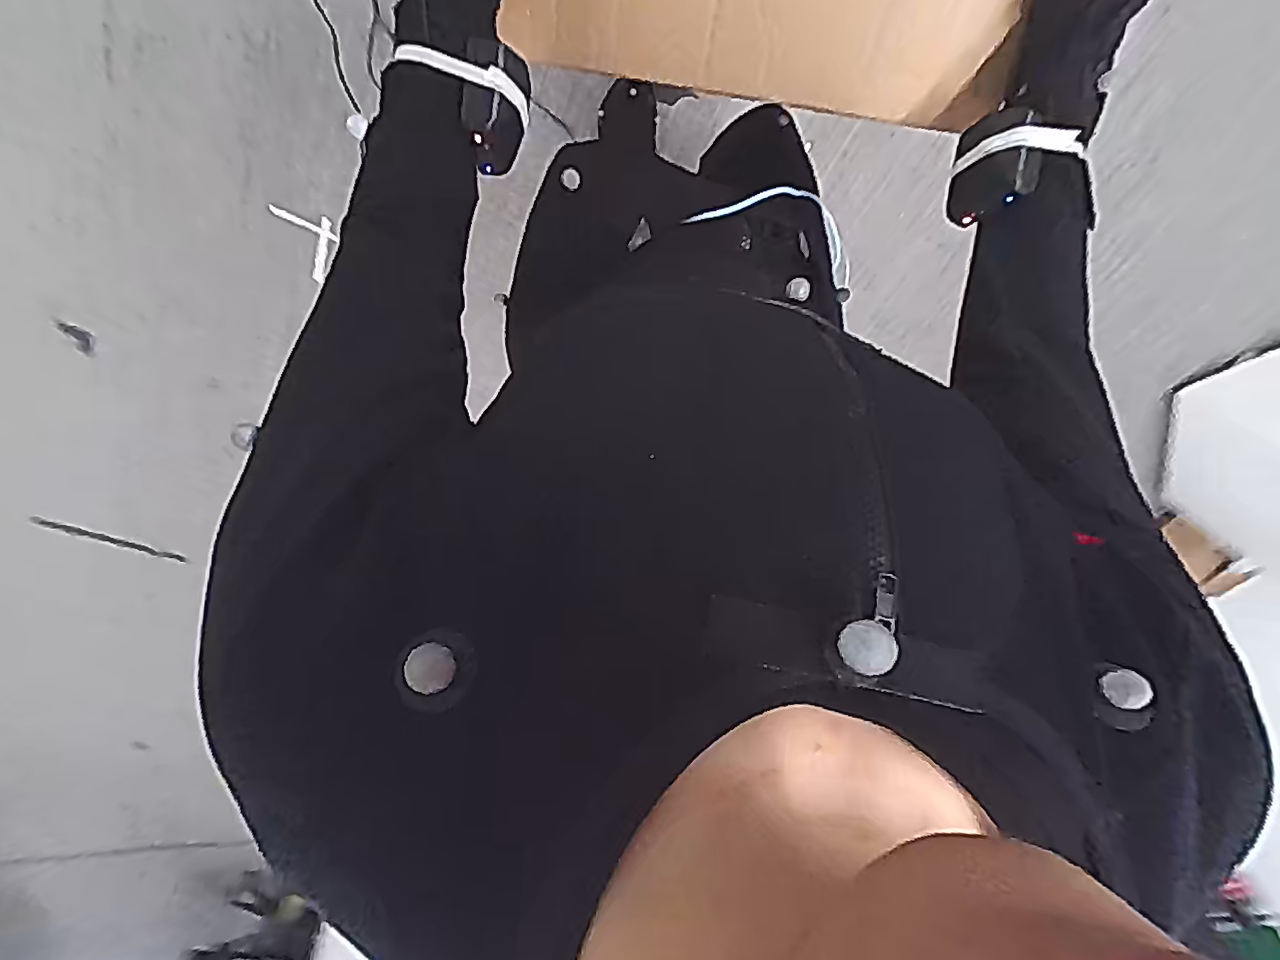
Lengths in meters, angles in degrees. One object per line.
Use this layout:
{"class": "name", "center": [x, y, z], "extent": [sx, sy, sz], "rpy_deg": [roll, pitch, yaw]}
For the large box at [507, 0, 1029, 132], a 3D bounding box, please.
{"class": "large box", "center": [0.108, -0.528, 0.467], "extent": [0.408, 0.320, 0.320], "rpy_deg": [6, 132, -3]}
